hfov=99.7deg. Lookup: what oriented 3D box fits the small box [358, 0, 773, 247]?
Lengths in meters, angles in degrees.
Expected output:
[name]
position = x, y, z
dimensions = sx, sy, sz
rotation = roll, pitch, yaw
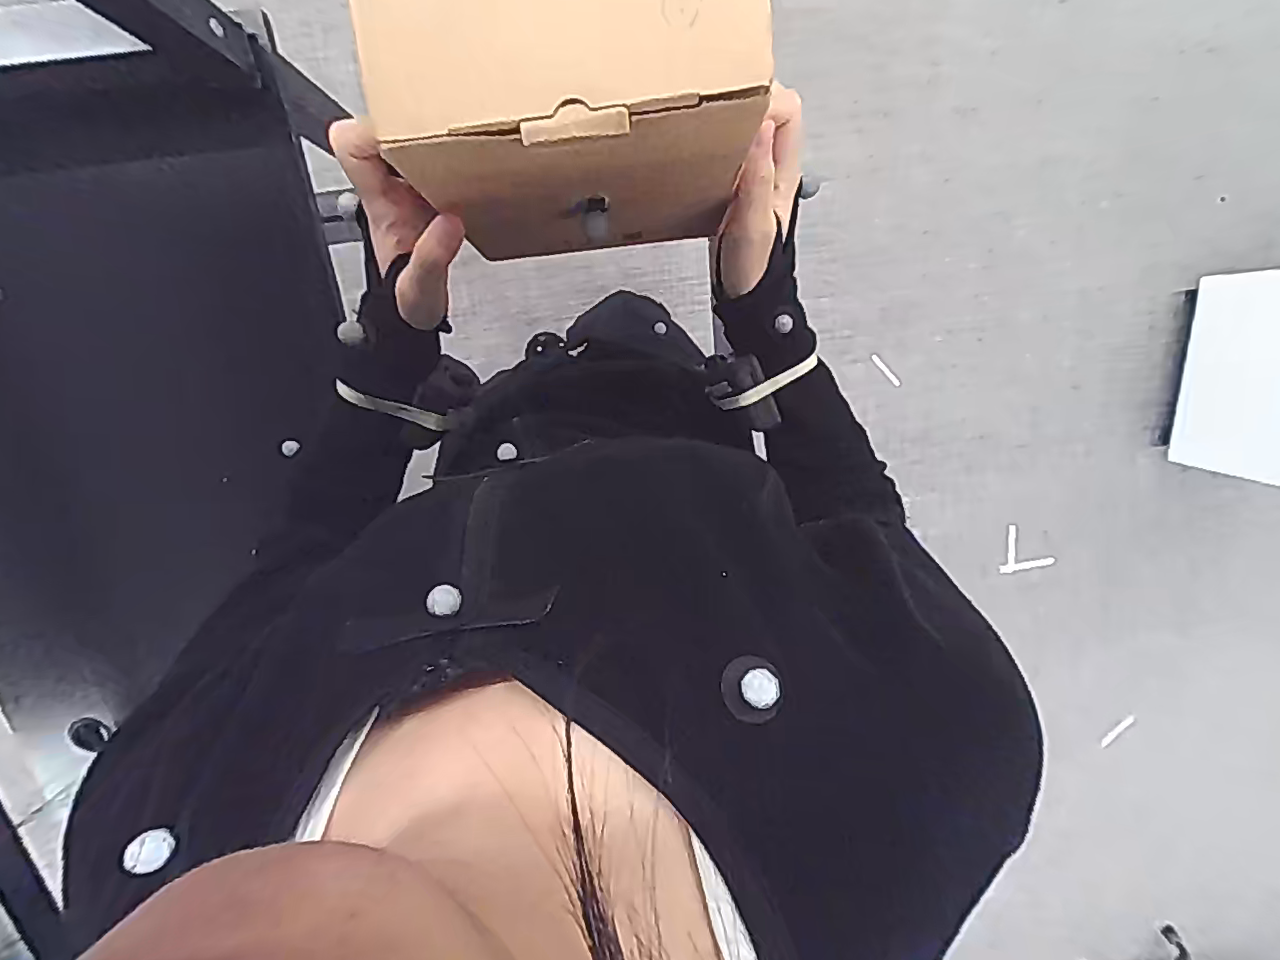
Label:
[small box]
position = -0.033, -0.238, 0.289
dimensions = 0.168, 0.176, 0.179
rotation = -6, 98, 1
